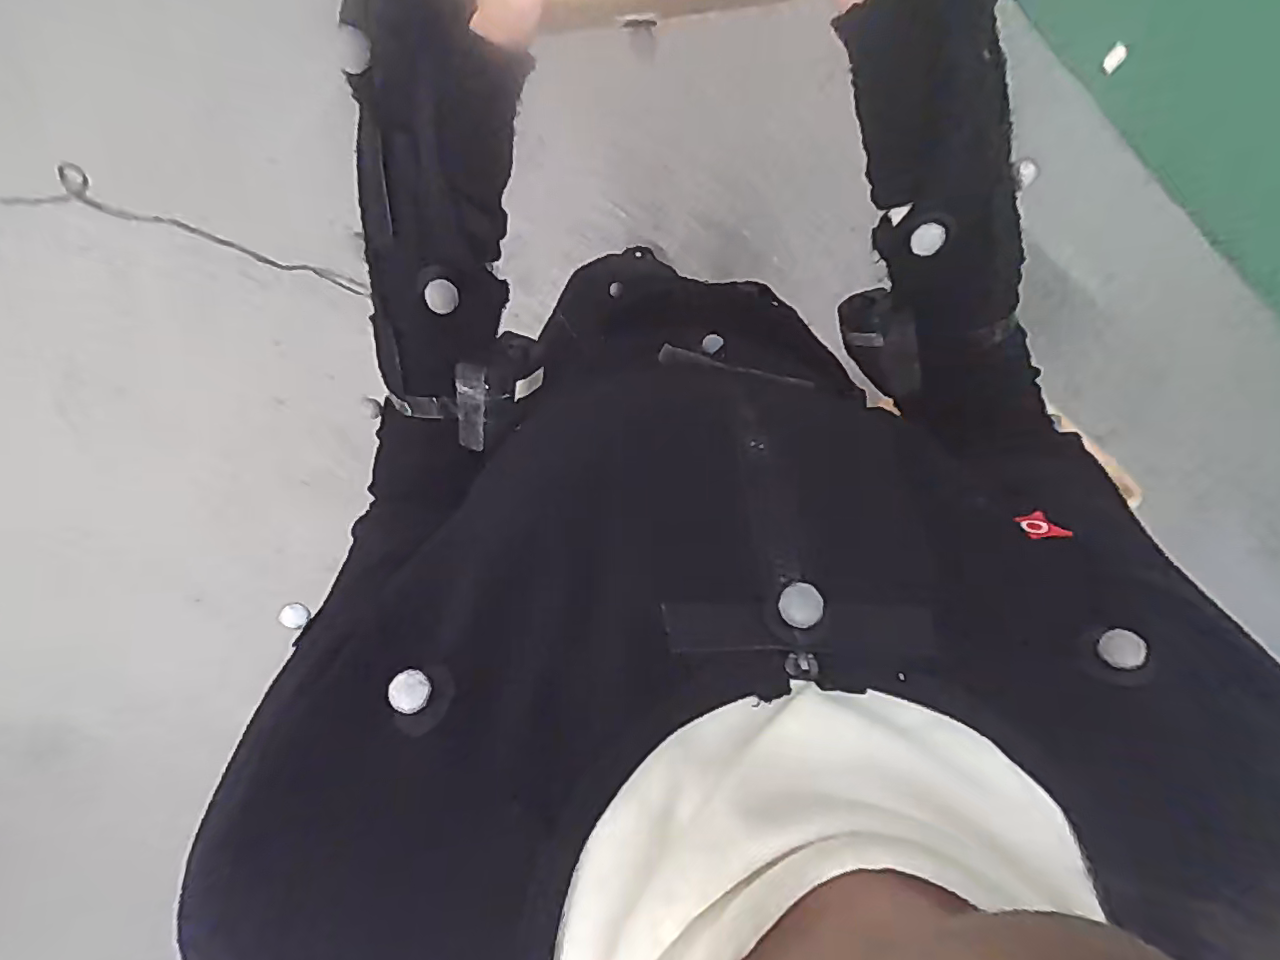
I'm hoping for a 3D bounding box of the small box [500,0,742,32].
[{"bbox_3d":[-0.004,-0.309,0.216,0.168,0.176,0.179,-9,126,1],"label":"small box"}]
